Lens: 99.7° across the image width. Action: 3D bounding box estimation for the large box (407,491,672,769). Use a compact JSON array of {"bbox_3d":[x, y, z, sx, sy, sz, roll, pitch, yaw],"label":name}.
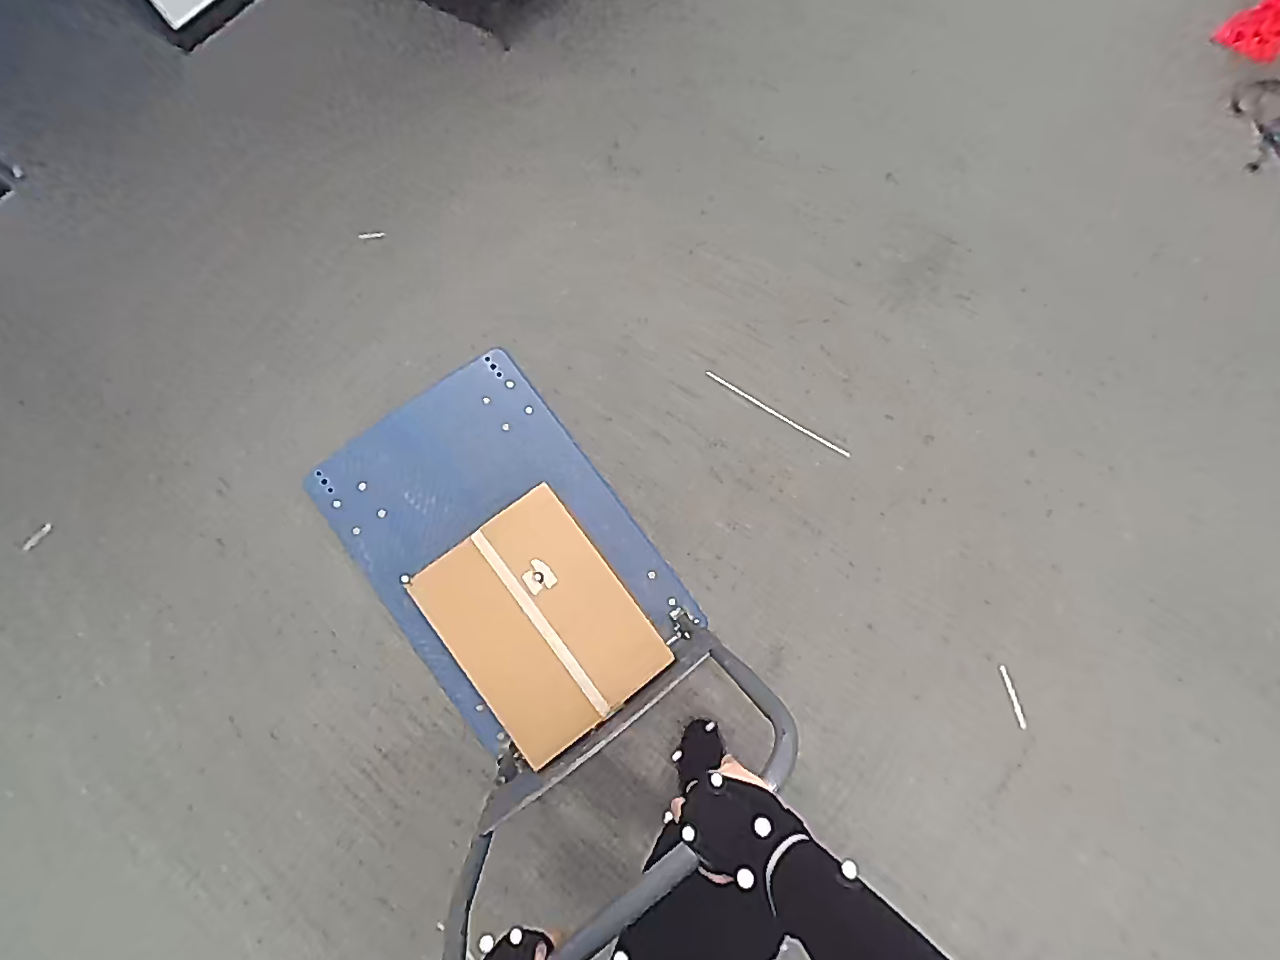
[{"bbox_3d":[-0.185,0.284,1.121,0.320,0.320,0.408,-38,85,-8],"label":"large box"}]
